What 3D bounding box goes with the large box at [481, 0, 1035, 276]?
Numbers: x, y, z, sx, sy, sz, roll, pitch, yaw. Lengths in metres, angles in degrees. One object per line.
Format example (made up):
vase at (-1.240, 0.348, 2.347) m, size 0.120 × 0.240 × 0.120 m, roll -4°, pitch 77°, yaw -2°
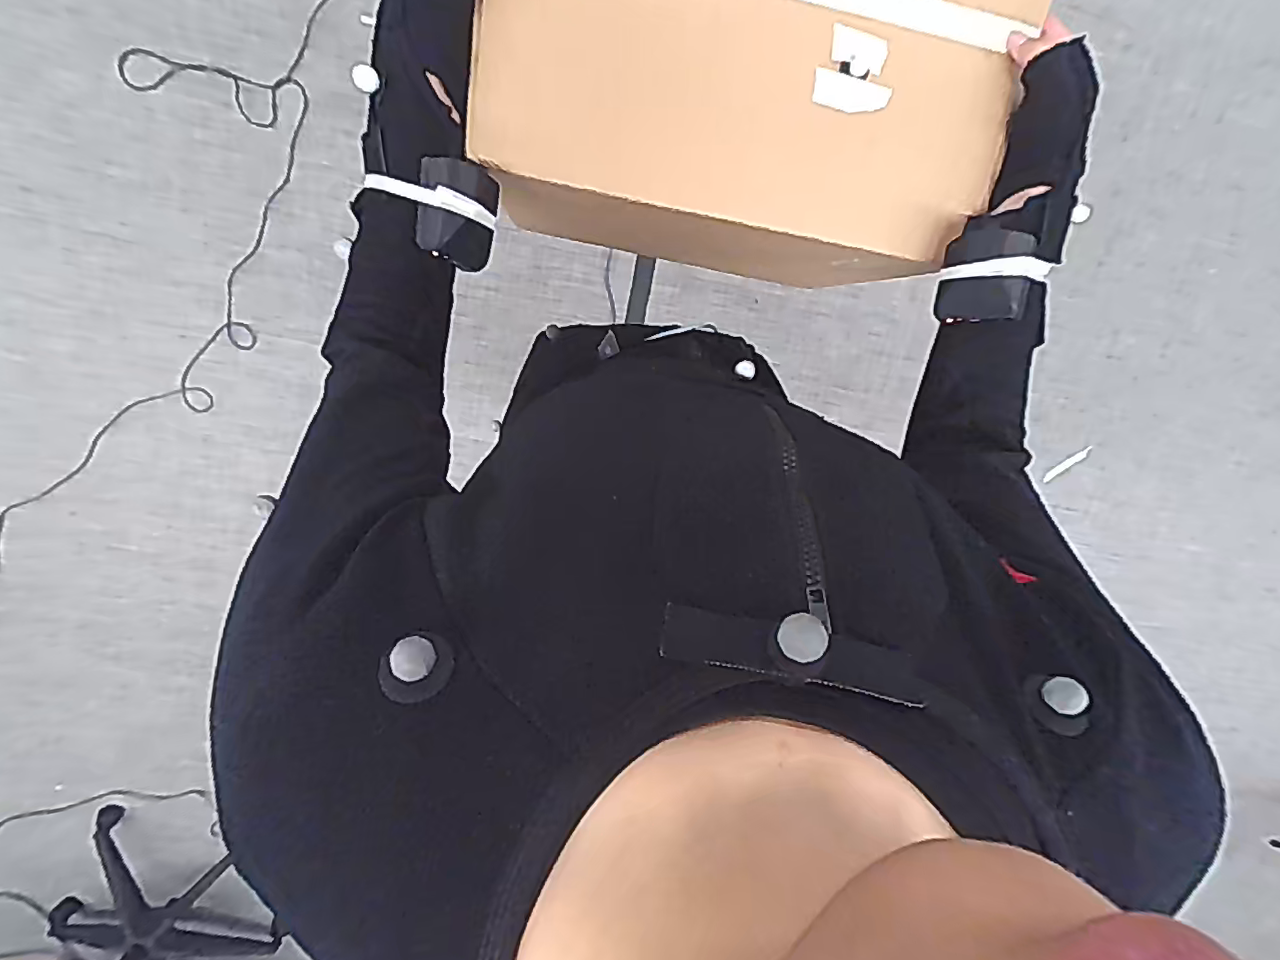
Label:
large box at (0.079, -0.401, 0.527) m, size 0.408 × 0.320 × 0.320 m, roll 7°, pitch 107°, yaw -9°
